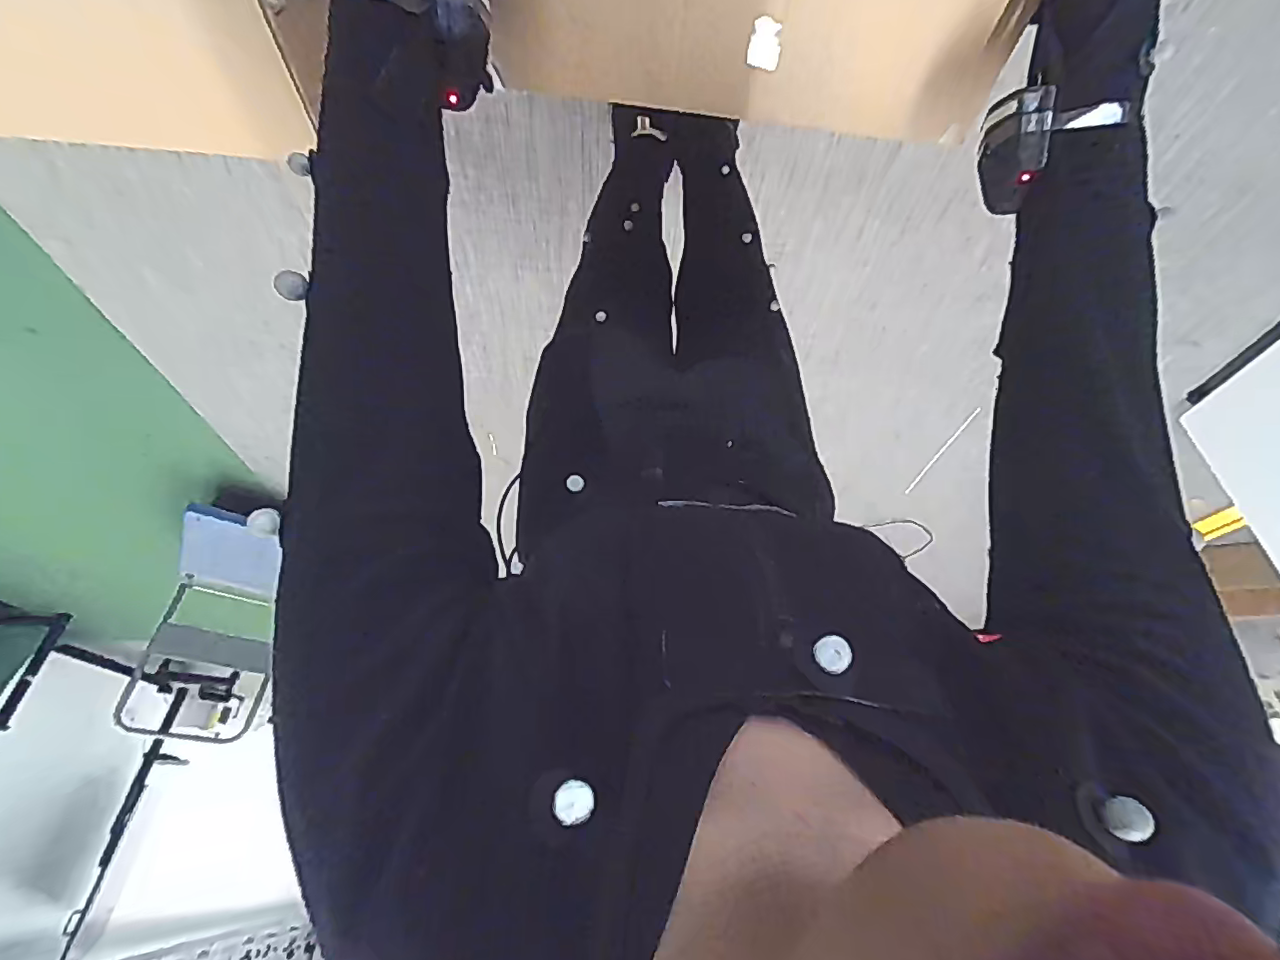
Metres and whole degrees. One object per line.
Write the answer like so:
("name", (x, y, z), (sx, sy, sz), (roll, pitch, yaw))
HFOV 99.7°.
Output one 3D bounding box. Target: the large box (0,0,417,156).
("large box", (-0.473, -0.534, 0.464), (0.408, 0.320, 0.320), (6, 149, 0))
